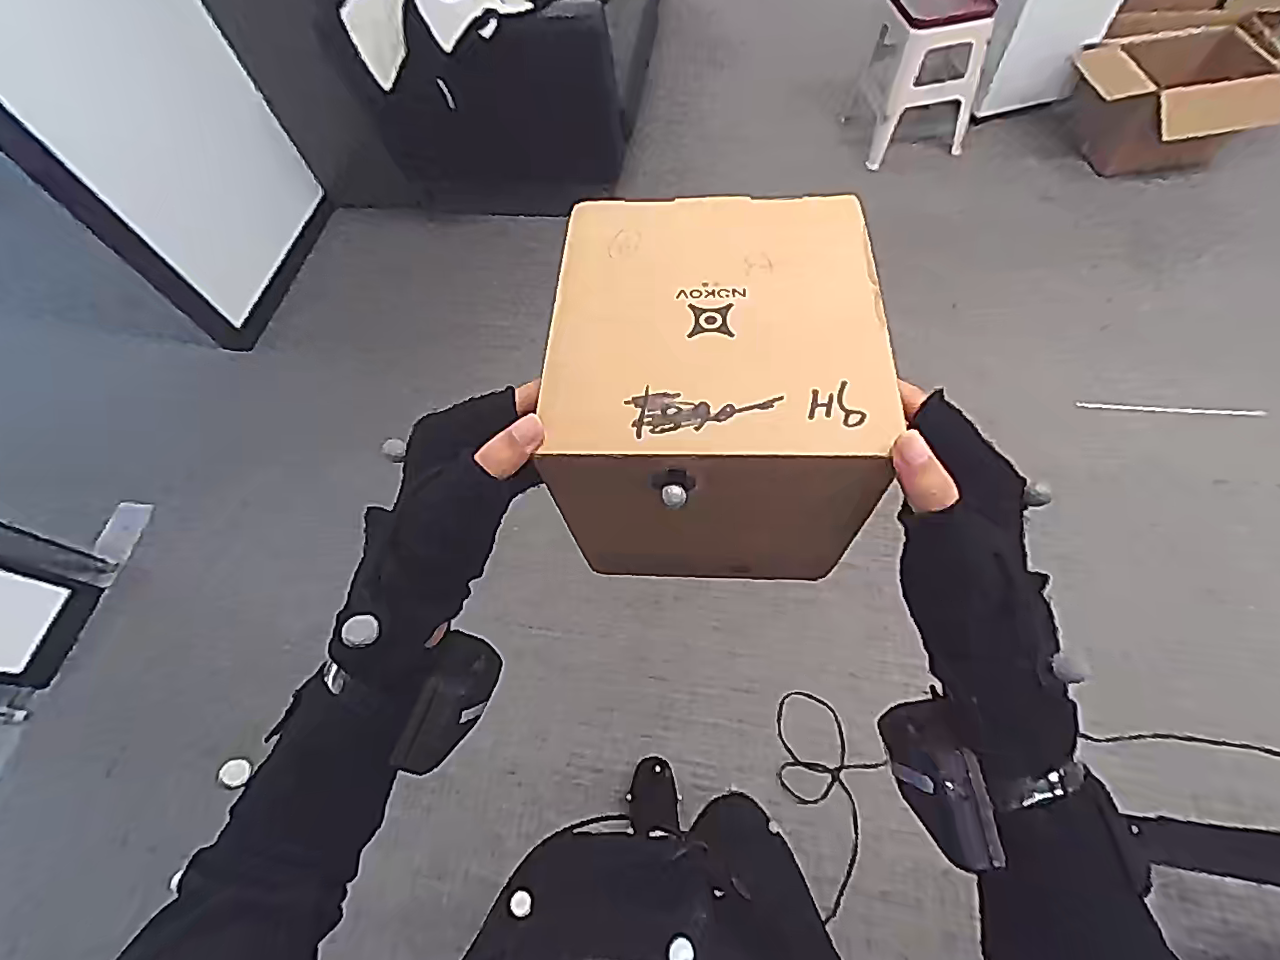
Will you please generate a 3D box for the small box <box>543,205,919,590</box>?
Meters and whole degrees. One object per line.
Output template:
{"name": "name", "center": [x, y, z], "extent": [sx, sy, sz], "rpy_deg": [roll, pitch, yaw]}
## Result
{"name": "small box", "center": [0.049, -0.044, 0.344], "extent": [0.168, 0.176, 0.179], "rpy_deg": [0, 61, 7]}
